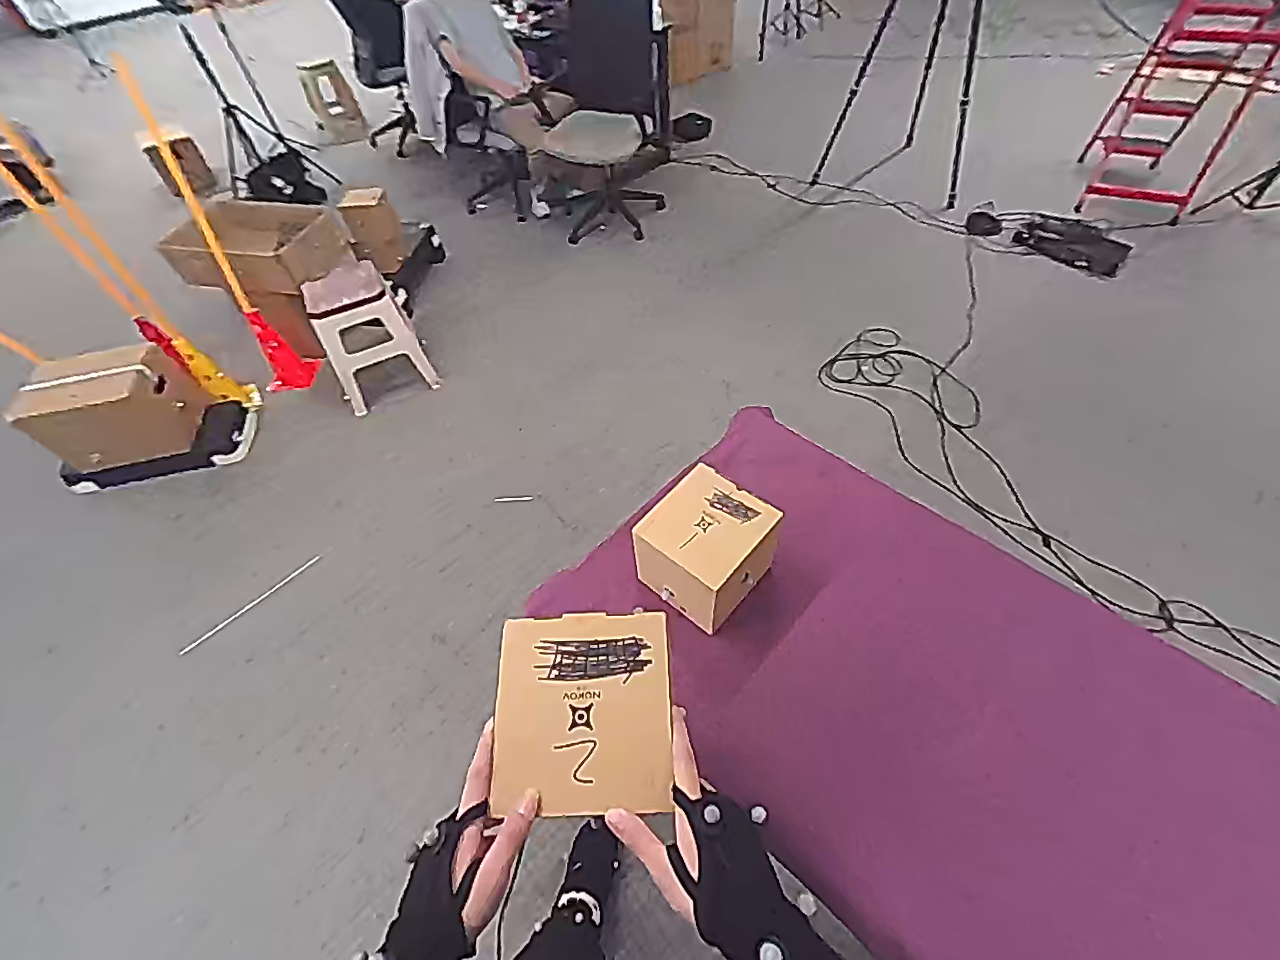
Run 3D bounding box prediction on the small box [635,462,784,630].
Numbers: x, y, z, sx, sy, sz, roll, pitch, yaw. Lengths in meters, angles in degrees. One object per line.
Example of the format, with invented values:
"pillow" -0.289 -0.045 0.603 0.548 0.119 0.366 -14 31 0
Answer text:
"small box" 0.109 0.111 0.895 0.168 0.176 0.179 34 62 26
